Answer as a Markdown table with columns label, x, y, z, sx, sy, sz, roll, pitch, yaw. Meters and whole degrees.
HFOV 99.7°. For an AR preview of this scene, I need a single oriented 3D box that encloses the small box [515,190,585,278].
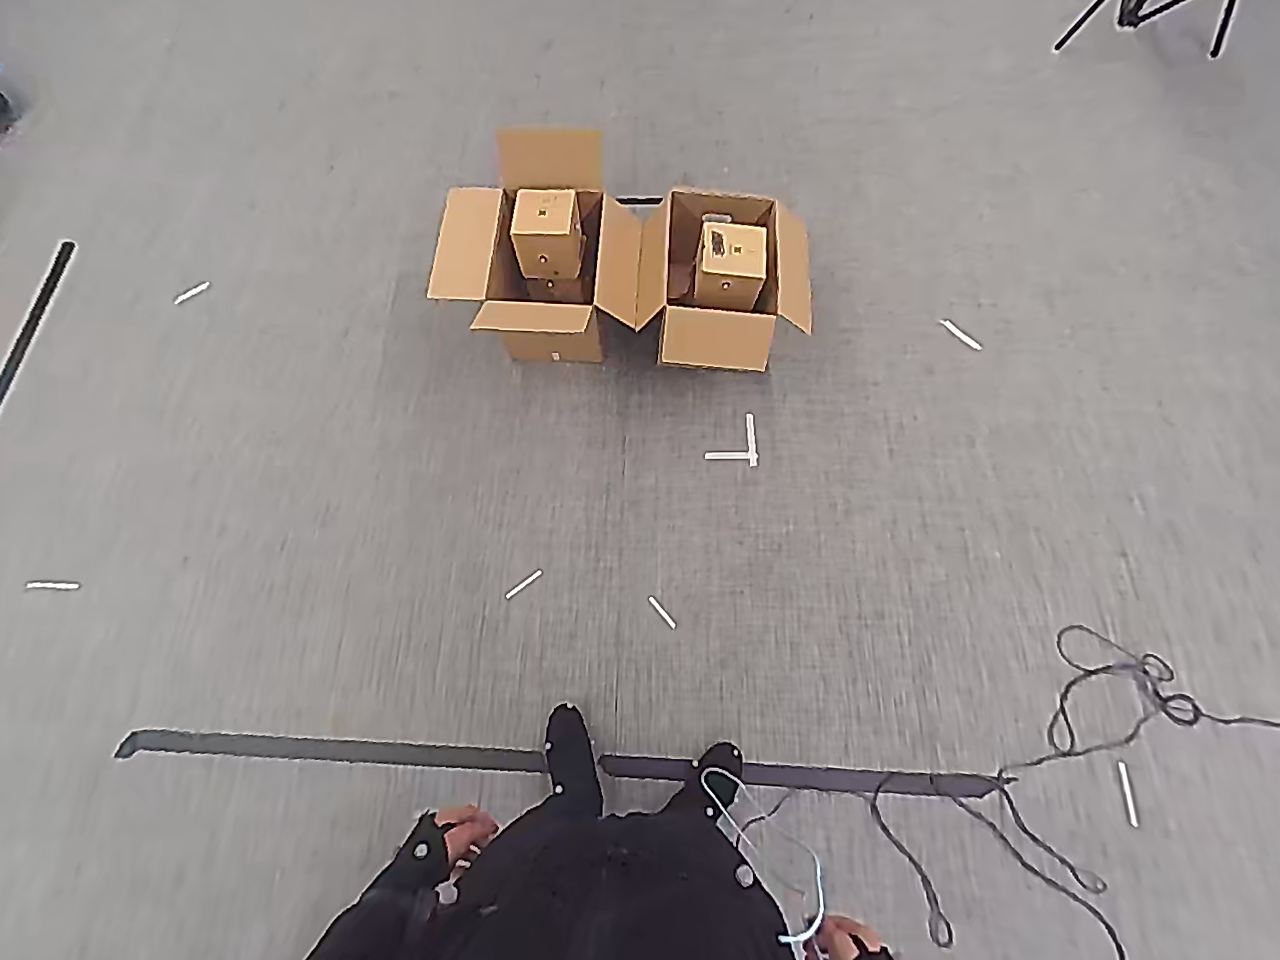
| label | x | y | z | sx | sy | sz | roll | pitch | yaw |
| --- | --- | --- | --- | --- | --- | --- | --- | --- | --- |
| small box | -0.255 | -0.714 | 1.577 | 0.168 | 0.176 | 0.179 | 3 | 66 | 2 |
